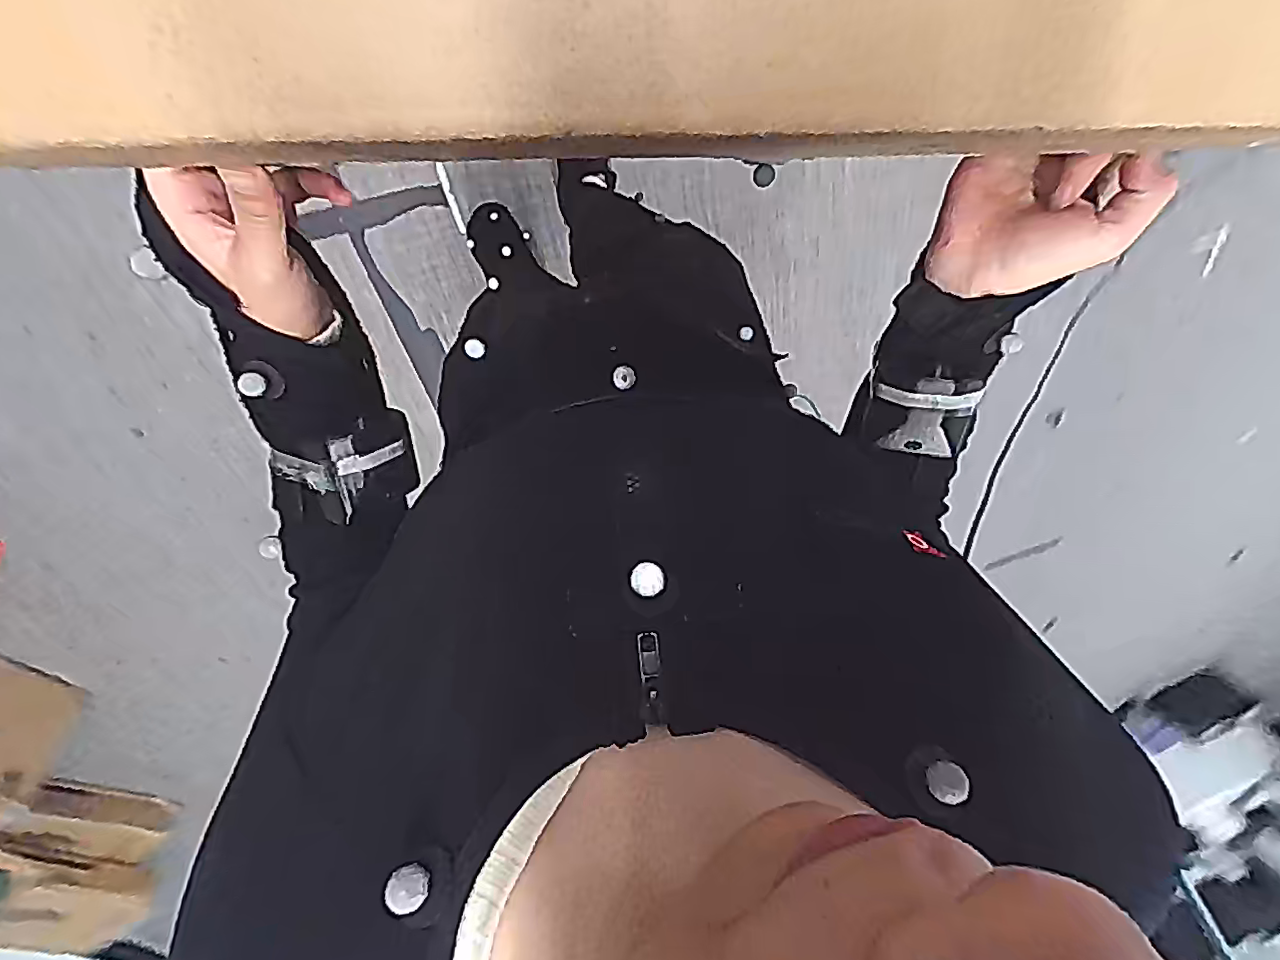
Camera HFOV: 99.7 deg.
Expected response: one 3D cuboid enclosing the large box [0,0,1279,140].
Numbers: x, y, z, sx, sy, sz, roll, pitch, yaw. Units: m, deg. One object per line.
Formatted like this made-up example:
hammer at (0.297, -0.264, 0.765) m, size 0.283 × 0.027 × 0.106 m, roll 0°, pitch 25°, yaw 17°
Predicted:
large box at (0.016, -0.301, 0.178) m, size 0.408 × 0.320 × 0.320 m, roll -3°, pitch 122°, yaw -5°
